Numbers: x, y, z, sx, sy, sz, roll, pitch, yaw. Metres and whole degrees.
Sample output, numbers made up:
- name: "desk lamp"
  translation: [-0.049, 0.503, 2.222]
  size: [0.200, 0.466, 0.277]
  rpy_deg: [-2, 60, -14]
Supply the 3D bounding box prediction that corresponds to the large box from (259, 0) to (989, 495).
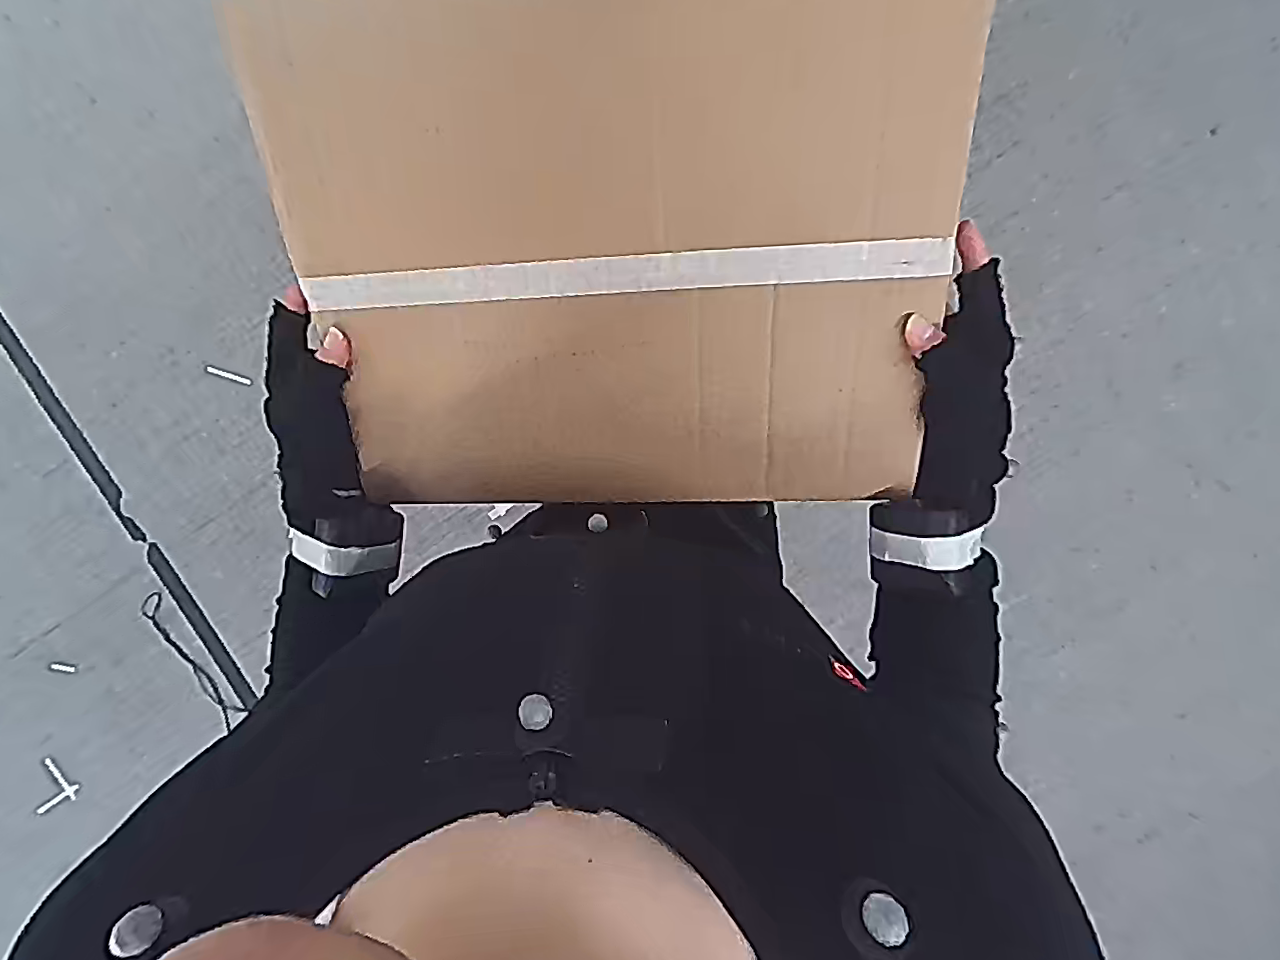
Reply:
- name: "large box"
  translation: [-0.001, -0.195, 0.481]
  size: [0.408, 0.320, 0.320]
  rpy_deg: [-1, 117, 6]
